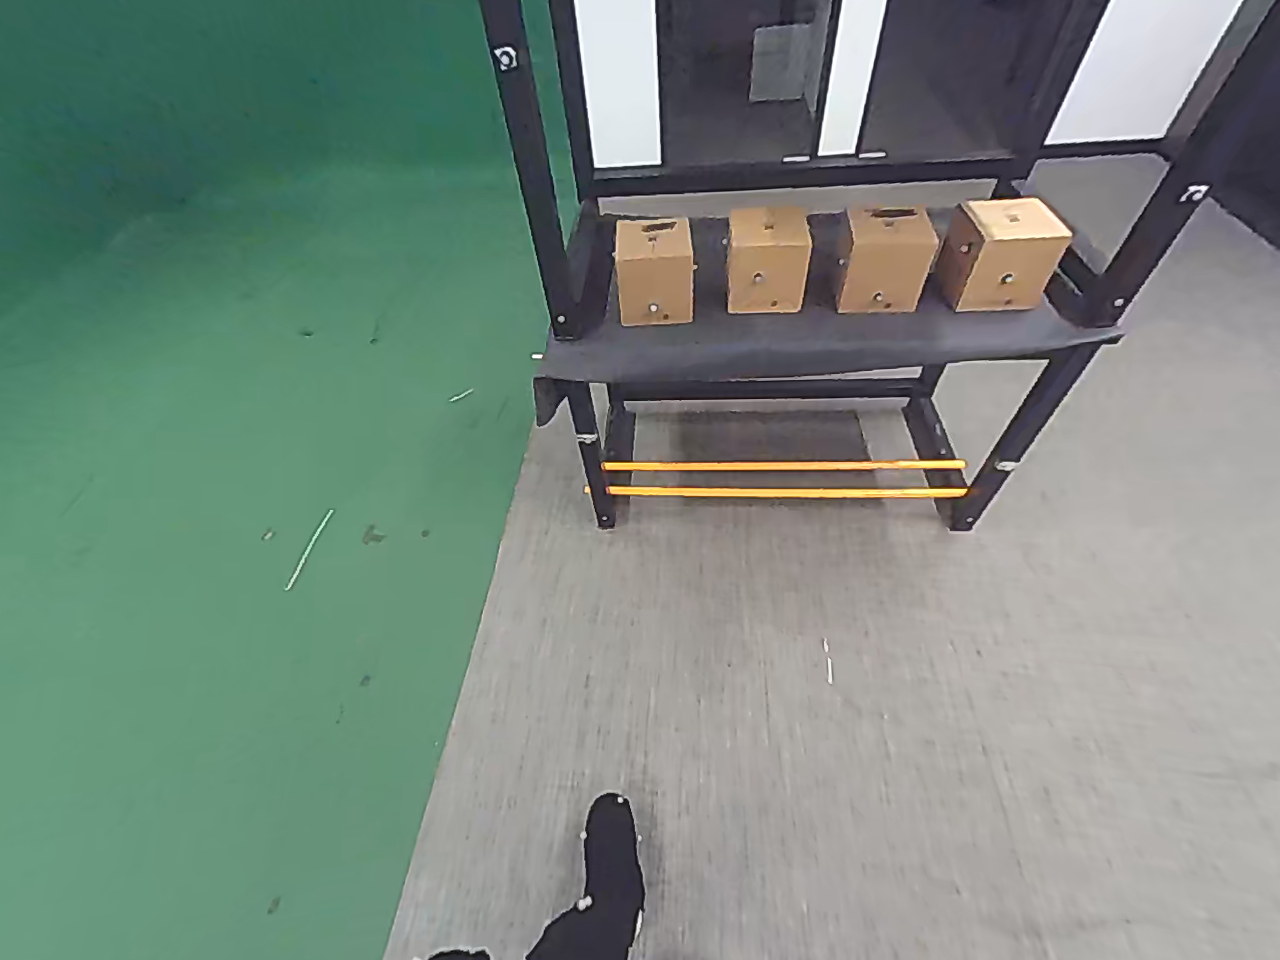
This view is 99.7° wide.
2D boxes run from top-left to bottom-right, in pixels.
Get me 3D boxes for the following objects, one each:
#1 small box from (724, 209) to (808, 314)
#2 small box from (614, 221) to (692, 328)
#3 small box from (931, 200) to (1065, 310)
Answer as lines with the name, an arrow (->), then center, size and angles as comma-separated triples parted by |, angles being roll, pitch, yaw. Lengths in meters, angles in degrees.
small box -> 0.283, -0.499, 1.248 | 0.168, 0.176, 0.179 | 1, 50, 5
small box -> 0.031, -0.473, 1.246 | 0.168, 0.176, 0.179 | -3, 51, 3
small box -> 0.772, -0.489, 1.189 | 0.168, 0.176, 0.179 | 0, 49, 5
